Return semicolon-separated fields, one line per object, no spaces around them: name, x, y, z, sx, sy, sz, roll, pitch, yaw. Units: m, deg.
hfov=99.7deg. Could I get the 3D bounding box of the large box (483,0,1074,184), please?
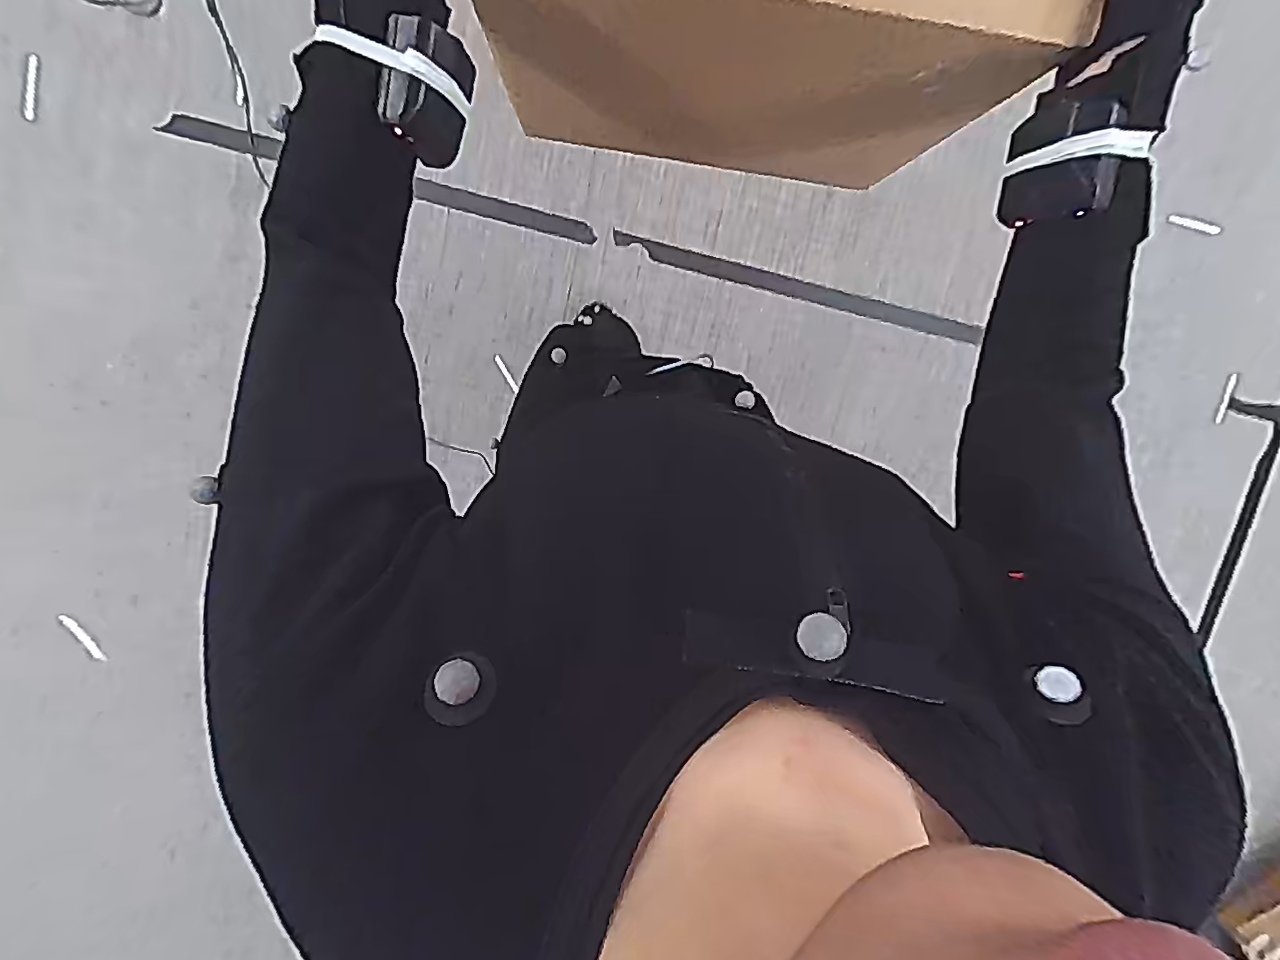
large box;0.091;-0.485;0.457;0.408;0.320;0.320;6;103;-5
